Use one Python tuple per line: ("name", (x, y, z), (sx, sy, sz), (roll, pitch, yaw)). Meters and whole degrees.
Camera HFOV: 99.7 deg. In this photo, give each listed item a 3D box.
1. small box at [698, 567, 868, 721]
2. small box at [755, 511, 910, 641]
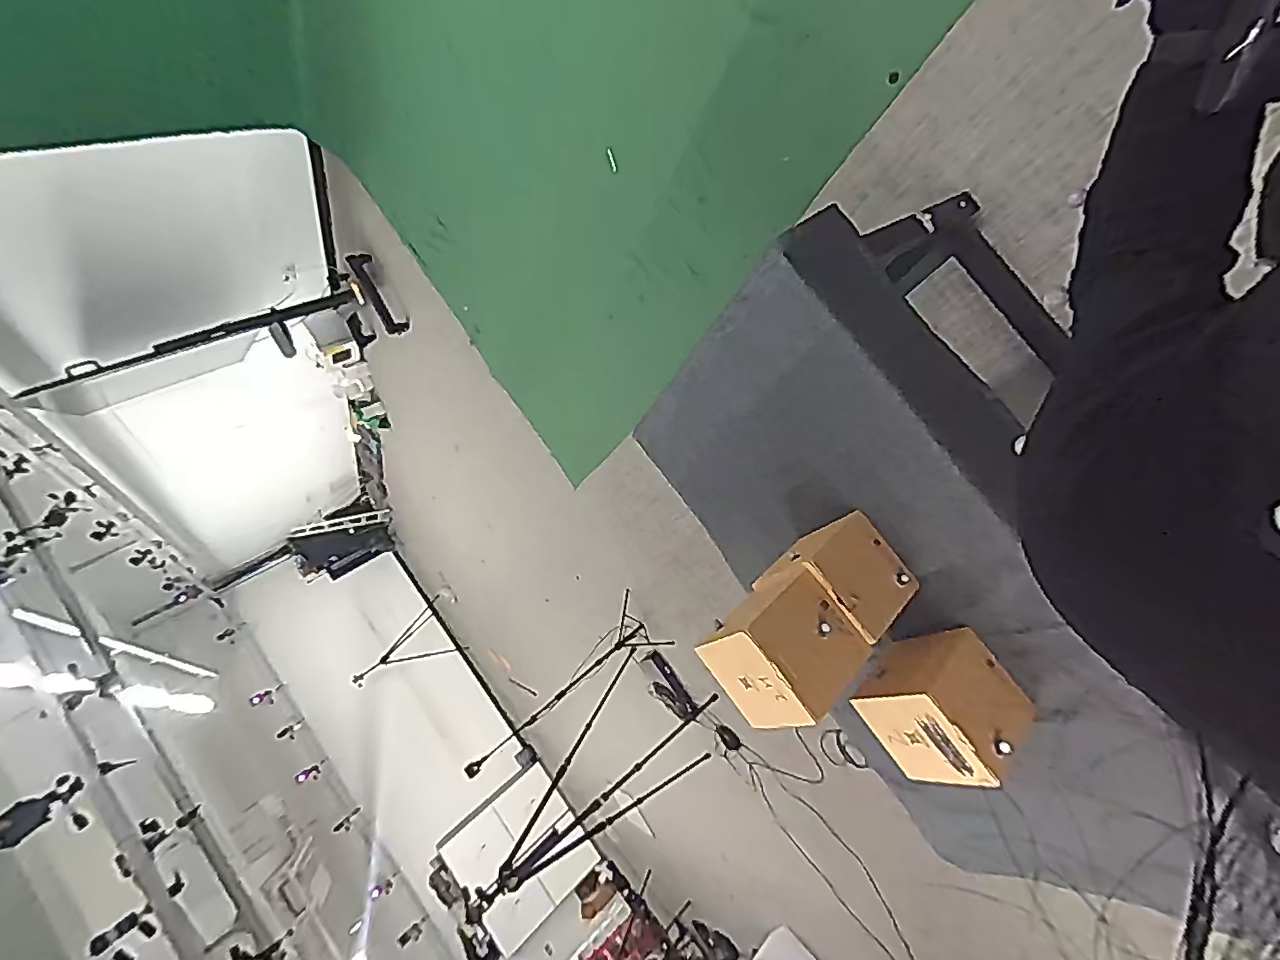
("small box", (0.234, 0.271, 0.893), (0.168, 0.176, 0.179), (52, 147, 8))
("small box", (0.350, 0.181, 0.969), (0.168, 0.176, 0.179), (53, 149, 7))
